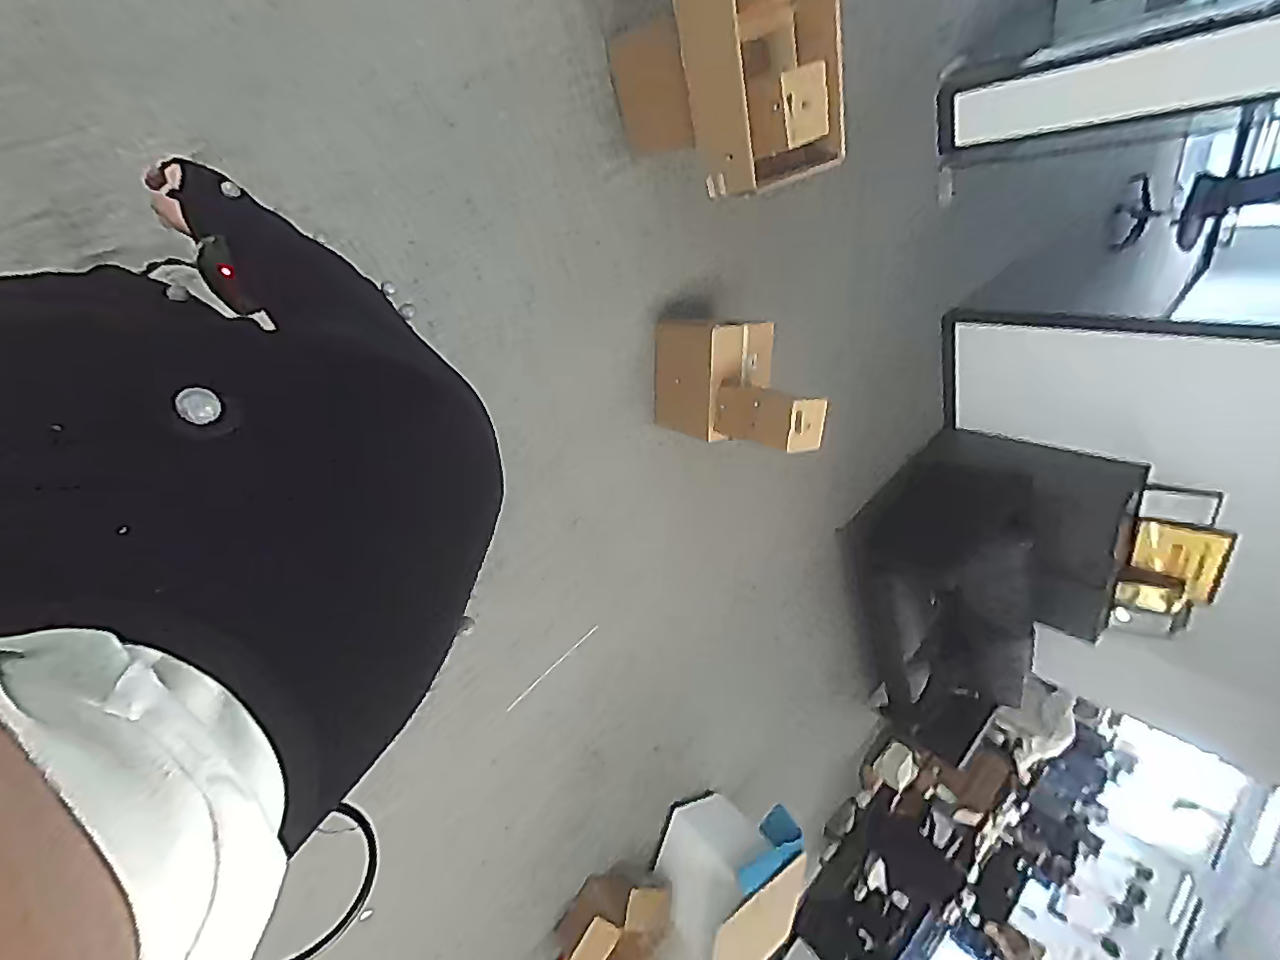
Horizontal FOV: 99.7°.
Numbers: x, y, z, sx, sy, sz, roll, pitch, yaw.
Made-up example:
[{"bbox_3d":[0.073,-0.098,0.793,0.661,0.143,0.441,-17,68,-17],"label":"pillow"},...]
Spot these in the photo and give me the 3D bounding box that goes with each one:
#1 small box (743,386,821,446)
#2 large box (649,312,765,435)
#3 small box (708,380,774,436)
[{"bbox_3d":[0.459,-0.211,1.766,0.179,0.176,0.168,-9,112,-37],"label":"small box"},{"bbox_3d":[0.248,-0.420,2.062,0.320,0.320,0.408,-17,117,-35],"label":"large box"},{"bbox_3d":[0.366,-0.257,1.893,0.179,0.176,0.168,-9,112,-36],"label":"small box"}]
